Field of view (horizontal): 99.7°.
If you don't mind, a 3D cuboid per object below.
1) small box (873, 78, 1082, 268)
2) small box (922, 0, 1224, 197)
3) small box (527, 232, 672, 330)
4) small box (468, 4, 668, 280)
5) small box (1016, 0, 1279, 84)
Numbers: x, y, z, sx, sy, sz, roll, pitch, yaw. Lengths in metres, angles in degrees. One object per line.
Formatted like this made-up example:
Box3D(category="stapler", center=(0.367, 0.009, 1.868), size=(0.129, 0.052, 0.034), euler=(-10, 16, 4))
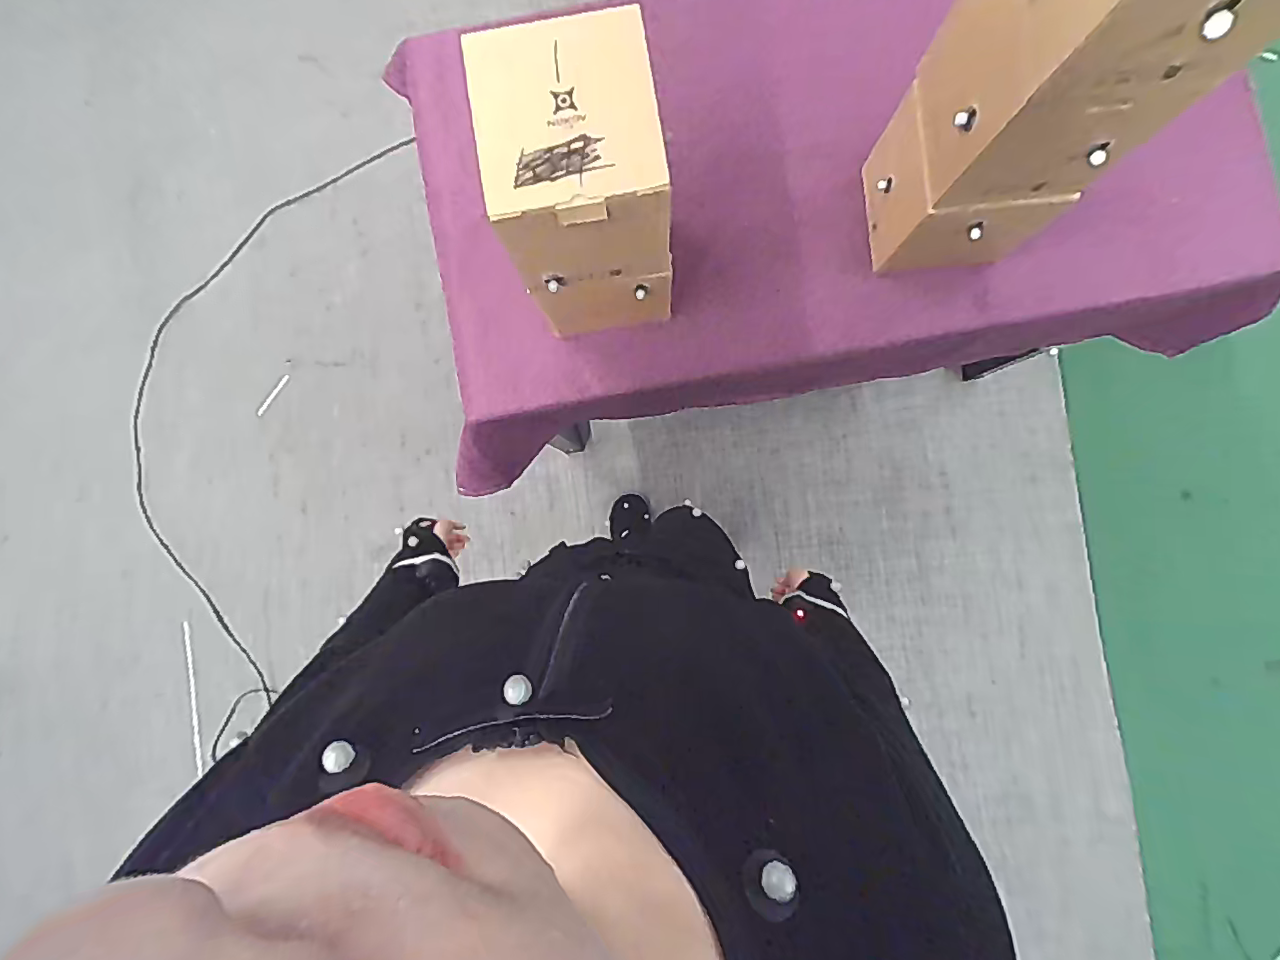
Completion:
Box3D(category="small box", center=(0.419, -0.392, 0.705), size=(0.179, 0.176, 0.168), euler=(-4, 87, 3))
Box3D(category="small box", center=(0.409, -0.409, 0.543), size=(0.168, 0.176, 0.179), euler=(-4, 86, 2))
Box3D(category="small box", center=(-0.052, -0.315, 0.728), size=(0.179, 0.176, 0.168), euler=(-8, 87, 2))
Box3D(category="small box", center=(-0.062, -0.328, 0.564), size=(0.168, 0.176, 0.179), euler=(-9, 85, 2))
Box3D(category="small box", center=(0.398, -0.418, 0.379), size=(0.168, 0.176, 0.179), euler=(-5, 88, 2))
